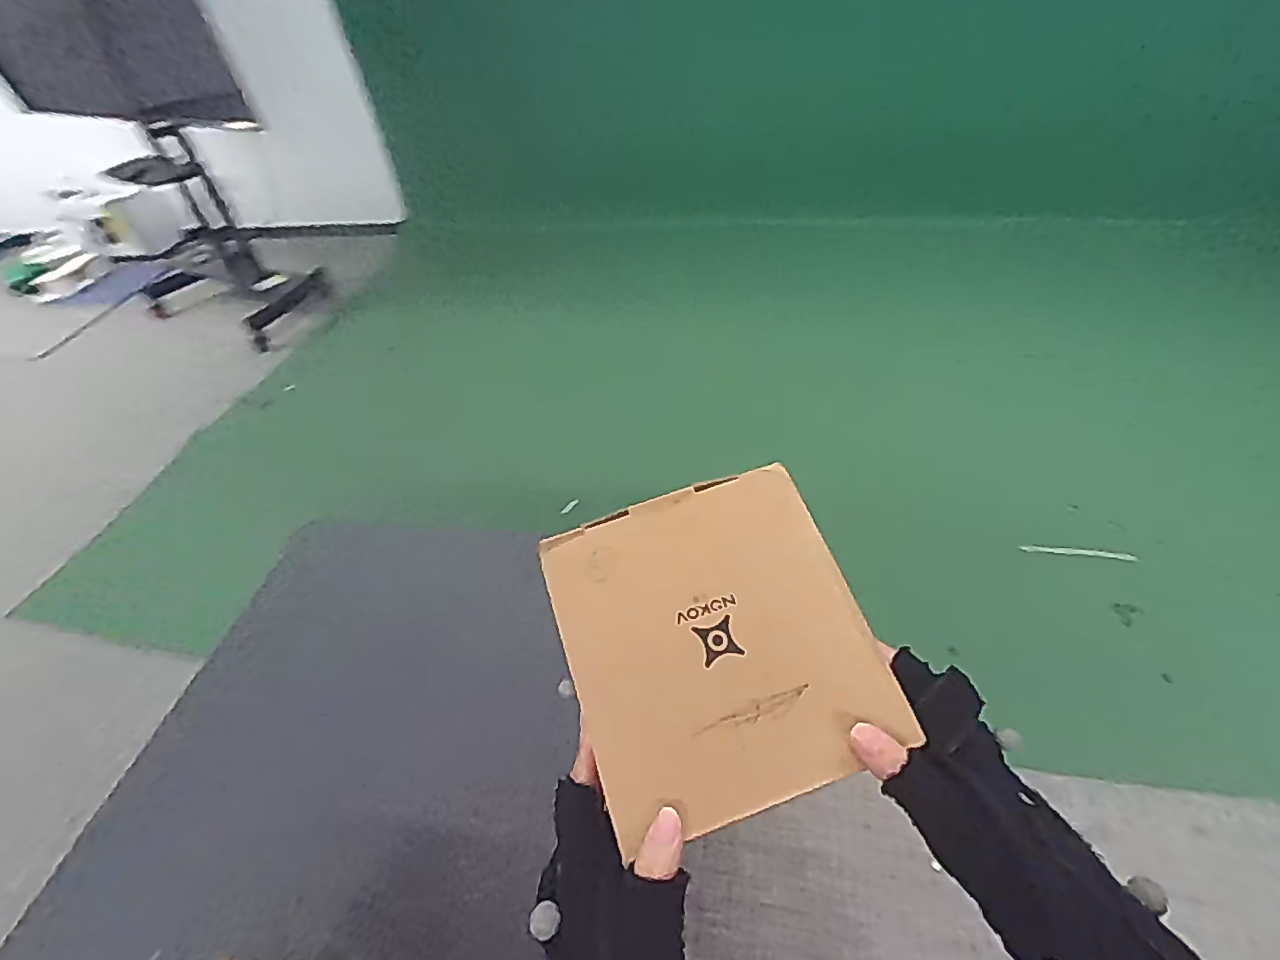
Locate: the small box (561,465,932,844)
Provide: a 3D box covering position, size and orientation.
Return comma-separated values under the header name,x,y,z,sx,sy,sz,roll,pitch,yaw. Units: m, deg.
name,x,y,z,sx,sy,sz,roll,pitch,yaw
small box,0.053,0.119,0.381,0.168,0.176,0.179,-17,65,-6
